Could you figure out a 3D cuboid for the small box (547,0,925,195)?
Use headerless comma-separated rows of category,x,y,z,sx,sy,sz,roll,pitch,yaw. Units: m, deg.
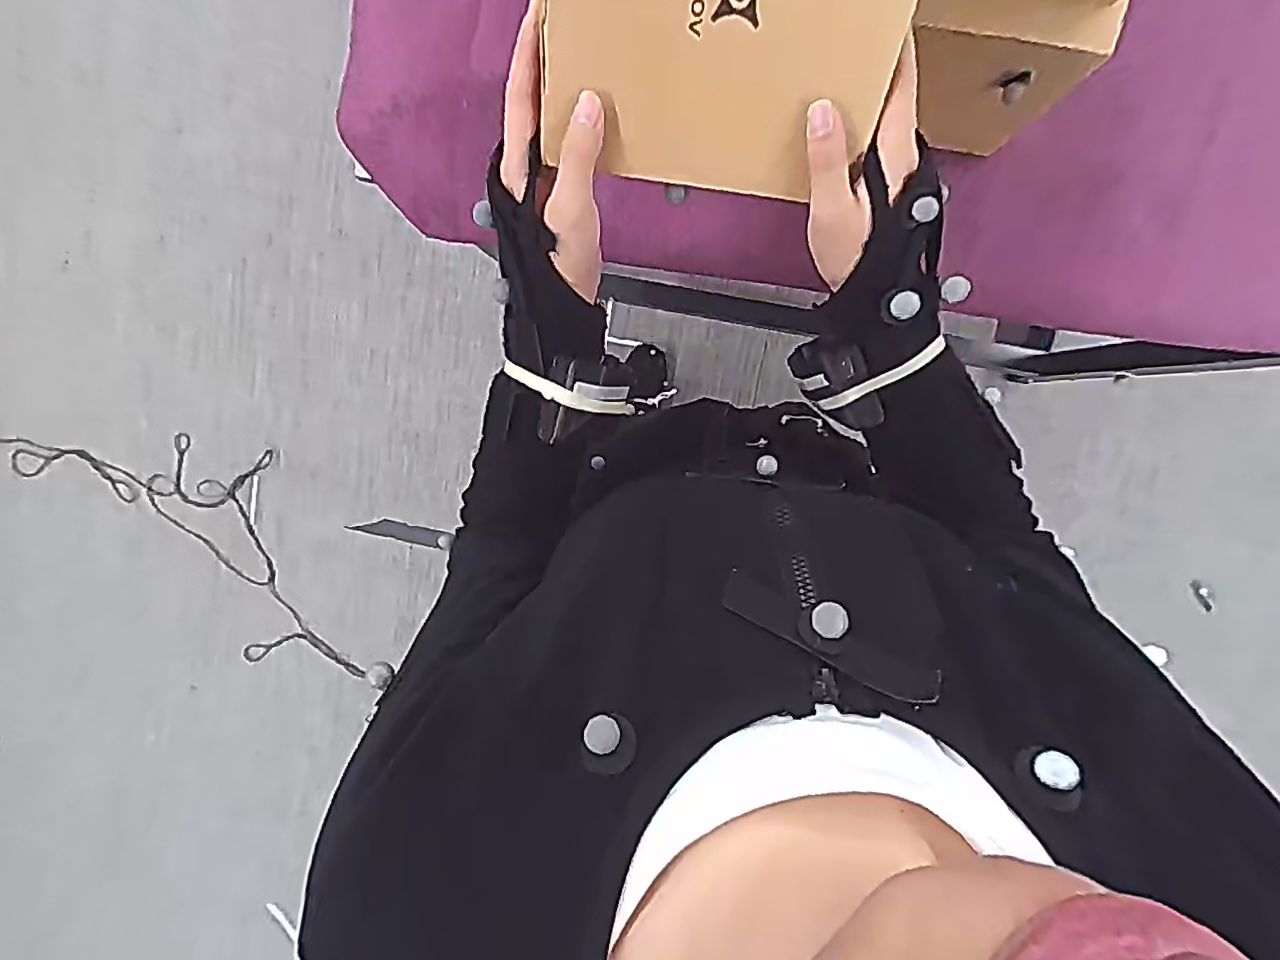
small box,0.046,-0.278,0.307,0.179,0.176,0.168,5,127,-4

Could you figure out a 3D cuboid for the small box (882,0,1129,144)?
small box,0.286,-0.424,0.468,0.179,0.176,0.168,12,98,3
